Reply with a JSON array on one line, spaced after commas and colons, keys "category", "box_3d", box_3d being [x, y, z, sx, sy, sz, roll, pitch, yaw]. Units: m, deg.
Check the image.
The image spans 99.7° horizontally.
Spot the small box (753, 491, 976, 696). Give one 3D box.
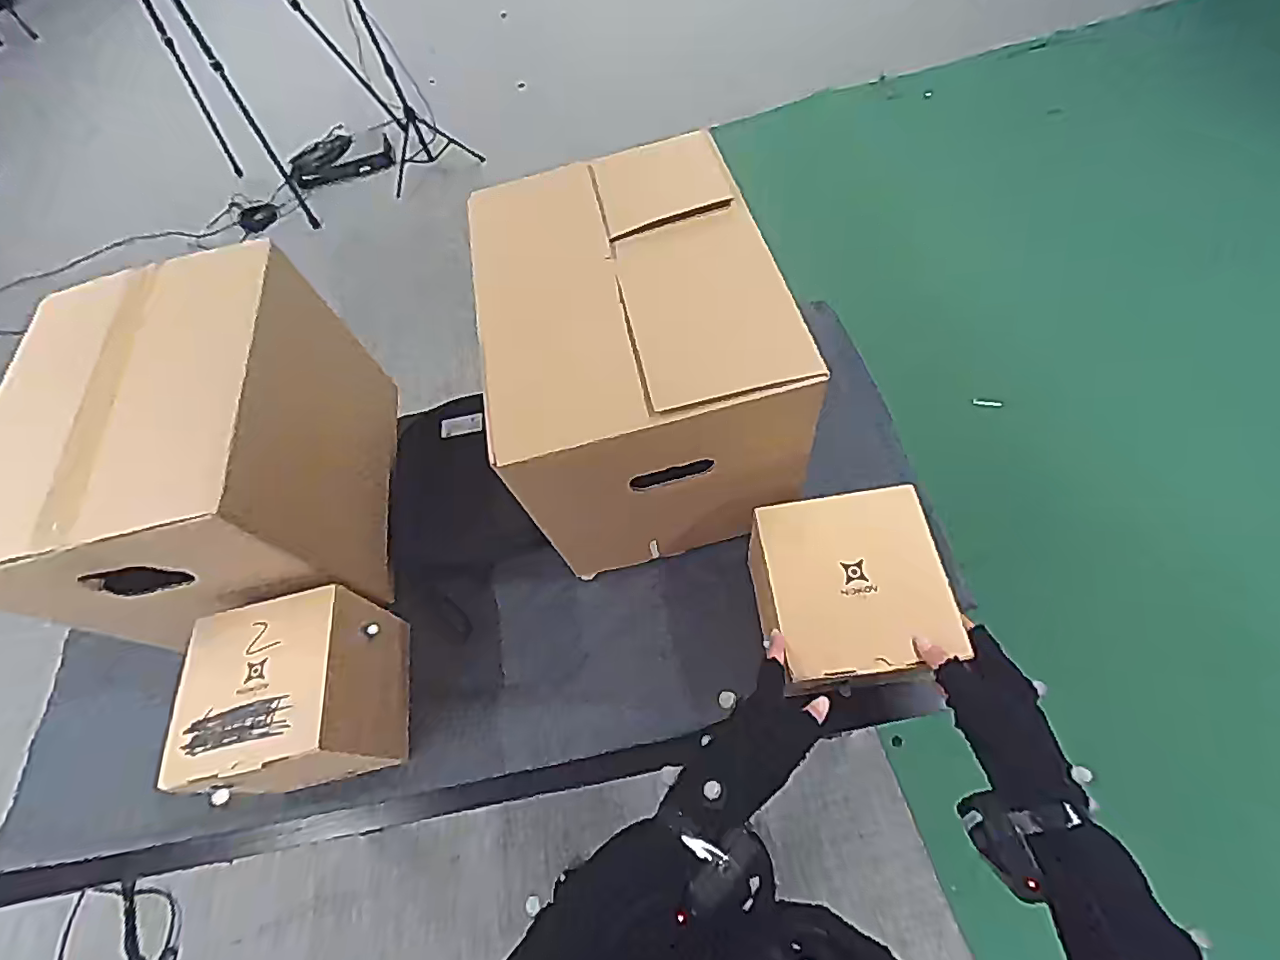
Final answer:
[{"category": "small box", "box_3d": [0.223, 0.133, 0.597, 0.168, 0.176, 0.179, -9, 64, 5]}]
